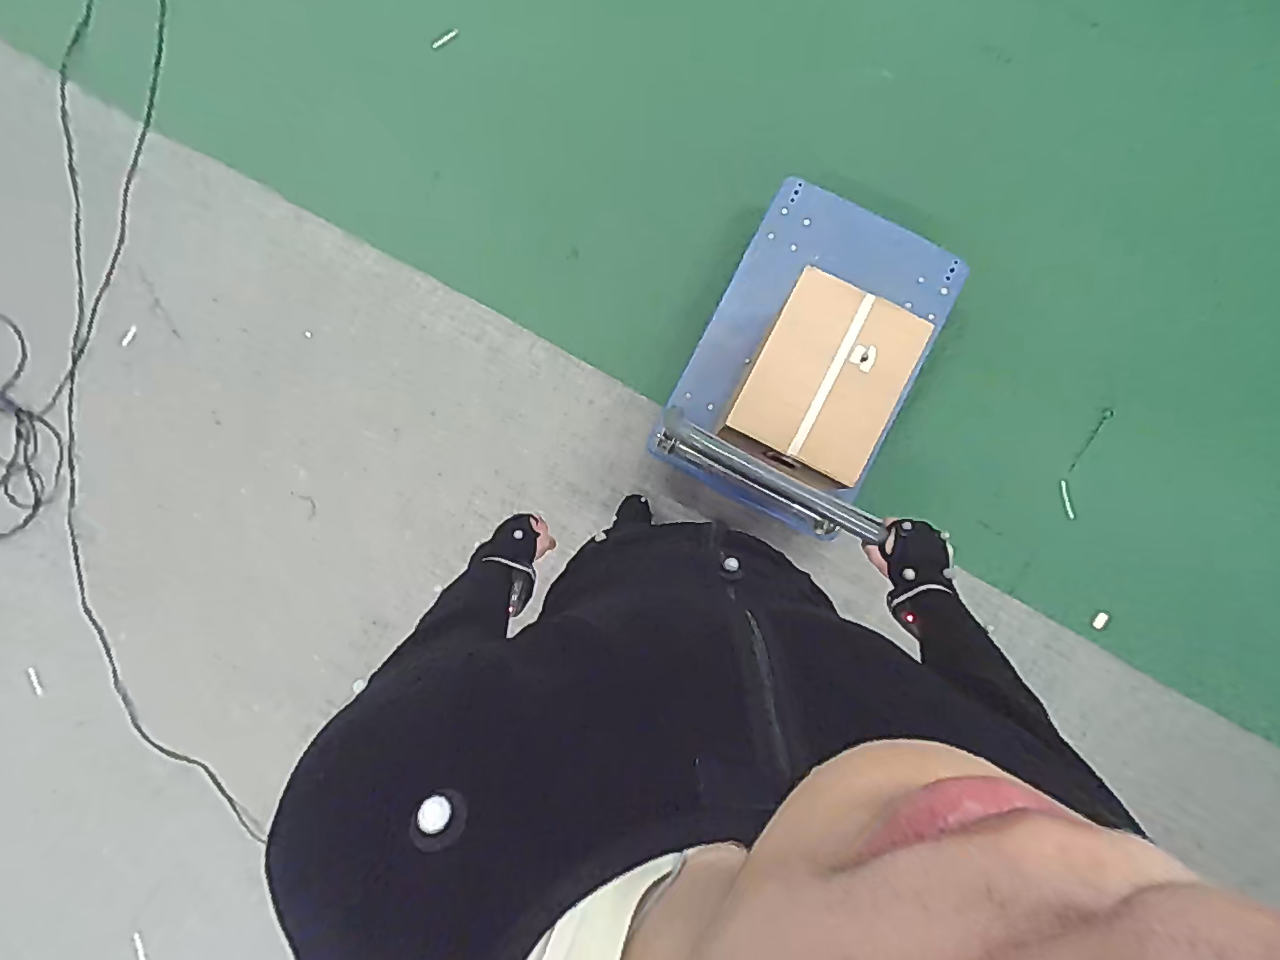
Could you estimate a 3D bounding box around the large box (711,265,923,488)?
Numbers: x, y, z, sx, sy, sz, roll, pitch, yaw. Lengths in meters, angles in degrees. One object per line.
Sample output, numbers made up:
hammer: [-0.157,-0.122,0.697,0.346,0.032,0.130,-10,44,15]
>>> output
large box: [0.406,-0.226,1.335,0.320,0.320,0.408,27,87,2]
